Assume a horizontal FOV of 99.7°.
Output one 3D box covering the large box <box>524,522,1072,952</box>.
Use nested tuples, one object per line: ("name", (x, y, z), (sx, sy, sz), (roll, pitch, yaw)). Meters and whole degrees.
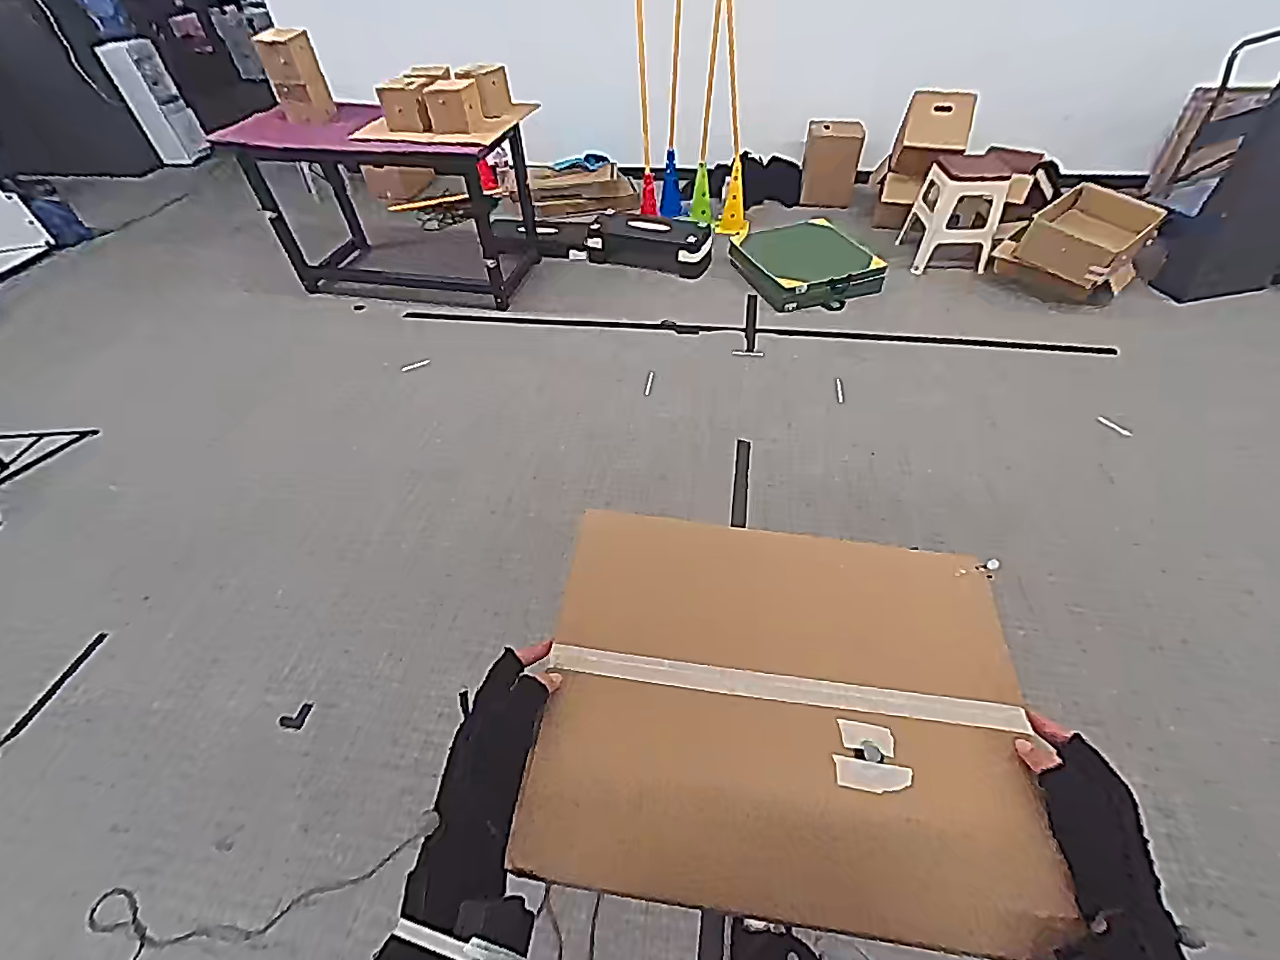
("large box", (0.122, 0.275, 0.595), (0.408, 0.320, 0.320), (7, 54, 4))
